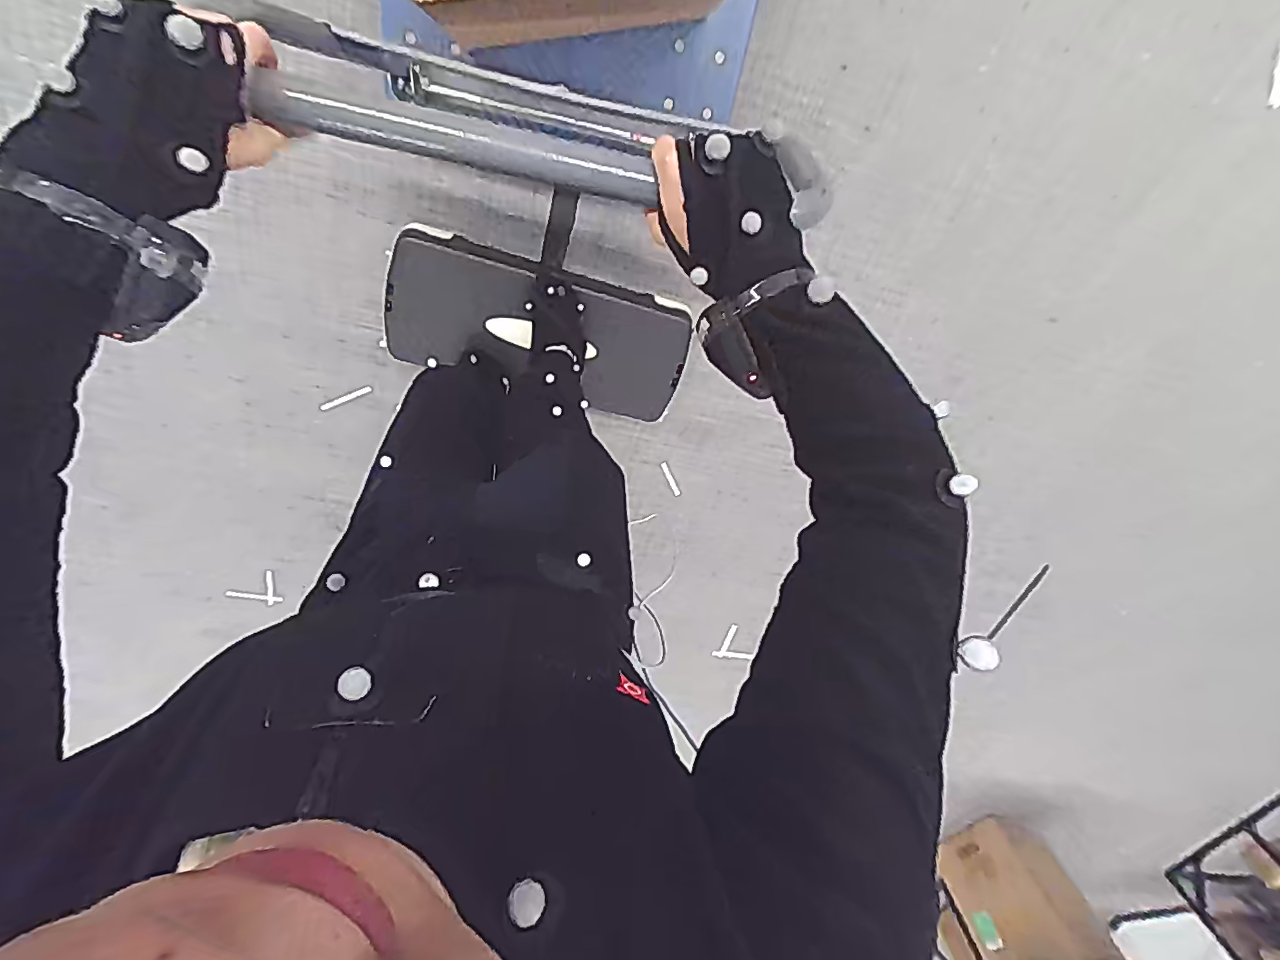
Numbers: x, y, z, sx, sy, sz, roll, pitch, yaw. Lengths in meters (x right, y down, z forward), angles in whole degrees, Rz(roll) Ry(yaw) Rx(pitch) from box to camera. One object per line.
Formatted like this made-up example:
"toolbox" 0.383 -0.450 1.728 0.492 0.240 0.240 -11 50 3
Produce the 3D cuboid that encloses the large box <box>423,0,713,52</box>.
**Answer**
"large box" -0.093 -0.774 0.664 0.408 0.320 0.320 -10 122 -2
